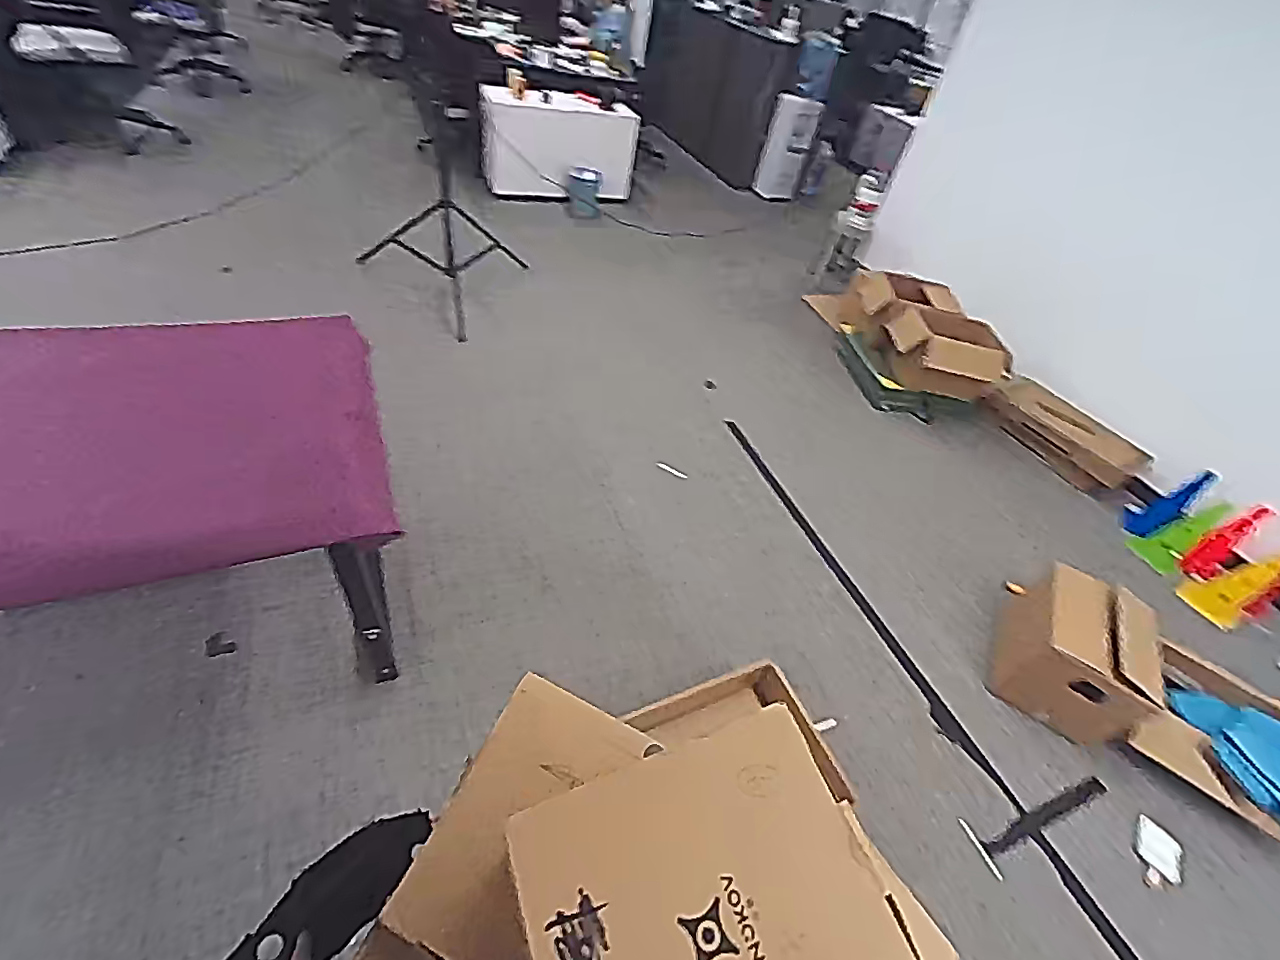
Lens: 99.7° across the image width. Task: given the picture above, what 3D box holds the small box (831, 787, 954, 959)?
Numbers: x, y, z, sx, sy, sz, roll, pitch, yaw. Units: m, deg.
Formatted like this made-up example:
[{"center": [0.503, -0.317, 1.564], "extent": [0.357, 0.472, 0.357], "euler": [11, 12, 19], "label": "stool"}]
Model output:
[{"center": [0.107, 0.371, 0.459], "extent": [0.168, 0.176, 0.179], "euler": [-24, 60, -31], "label": "small box"}]

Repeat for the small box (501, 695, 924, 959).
[{"center": [0.023, 0.256, 0.316], "extent": [0.179, 0.176, 0.168], "euler": [-12, 54, -23], "label": "small box"}]

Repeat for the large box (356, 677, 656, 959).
[{"center": [-0.052, 0.503, 0.633], "extent": [0.408, 0.320, 0.320], "euler": [25, 50, 6], "label": "large box"}]
